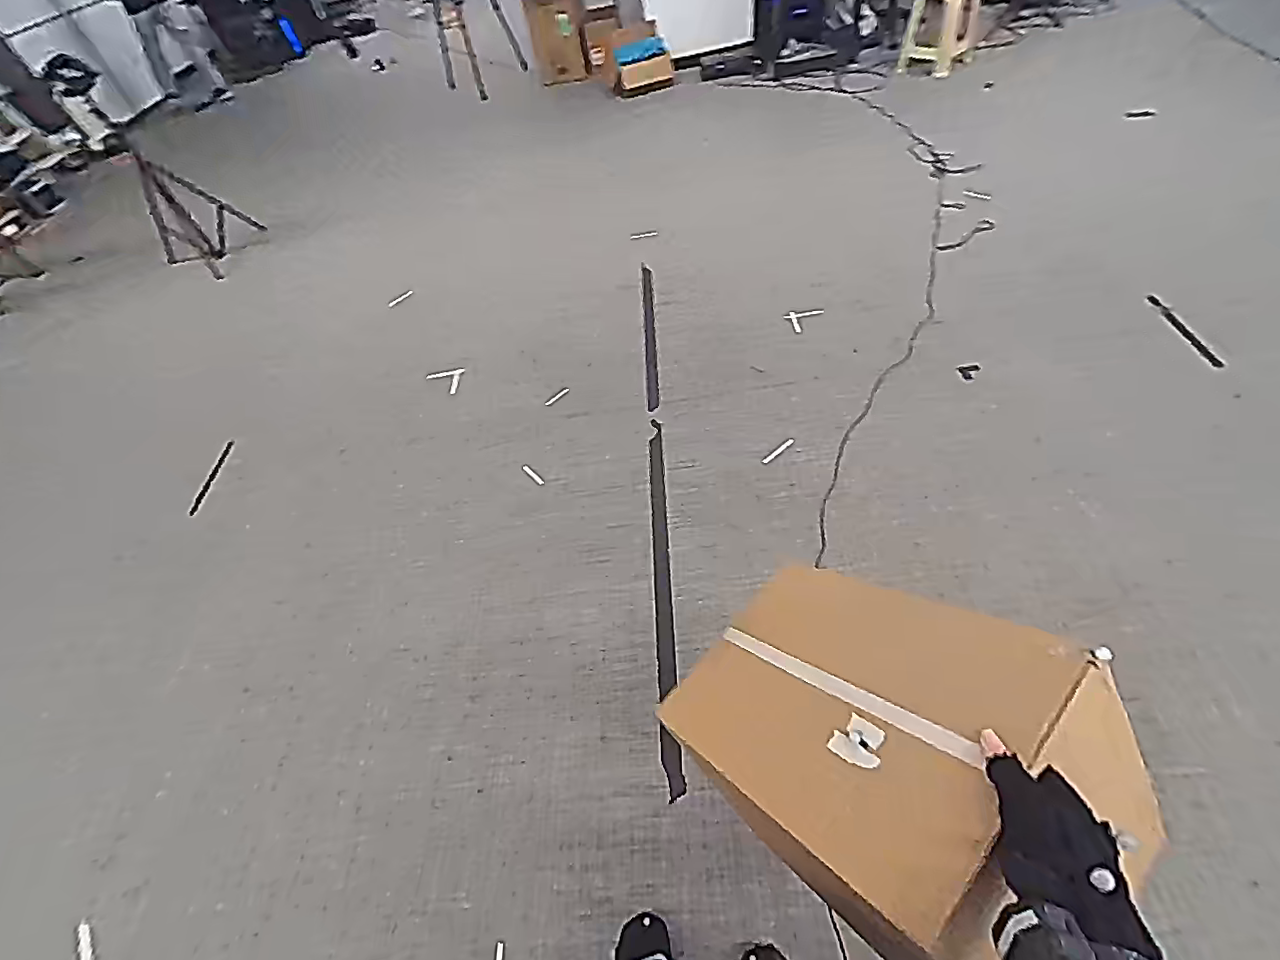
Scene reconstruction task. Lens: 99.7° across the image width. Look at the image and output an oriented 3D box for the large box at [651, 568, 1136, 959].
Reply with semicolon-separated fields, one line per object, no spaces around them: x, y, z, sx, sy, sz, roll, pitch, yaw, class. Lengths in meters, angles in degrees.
0.293;0.361;0.681;0.320;0.320;0.408;-44;25;-20;large box
